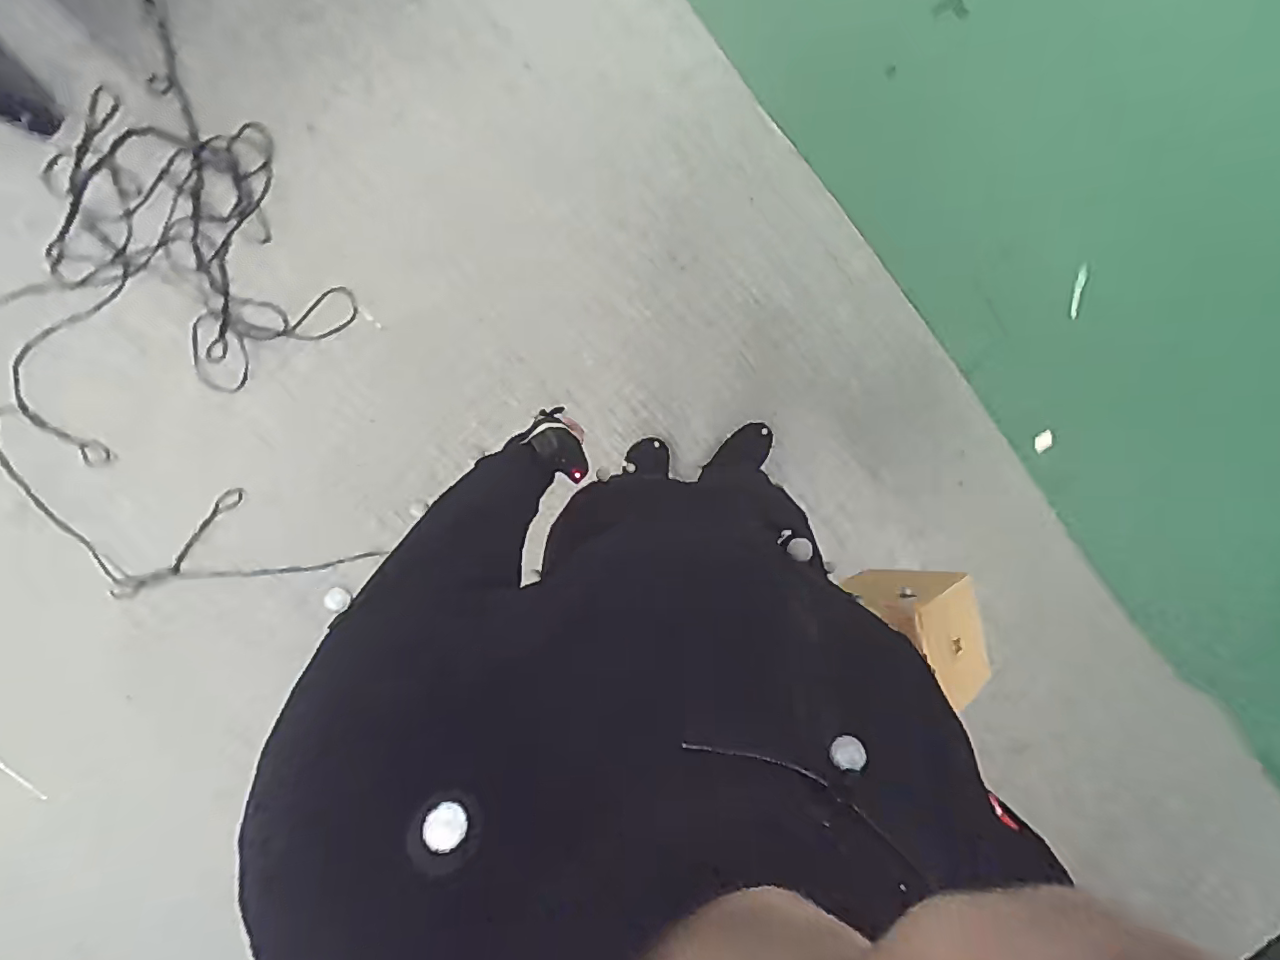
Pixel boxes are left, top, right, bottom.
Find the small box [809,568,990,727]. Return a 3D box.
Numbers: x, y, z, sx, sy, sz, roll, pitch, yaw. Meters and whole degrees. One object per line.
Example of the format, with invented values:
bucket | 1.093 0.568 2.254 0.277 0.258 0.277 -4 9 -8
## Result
small box | 0.381 0.231 0.802 0.179 0.176 0.168 -14 91 -37
